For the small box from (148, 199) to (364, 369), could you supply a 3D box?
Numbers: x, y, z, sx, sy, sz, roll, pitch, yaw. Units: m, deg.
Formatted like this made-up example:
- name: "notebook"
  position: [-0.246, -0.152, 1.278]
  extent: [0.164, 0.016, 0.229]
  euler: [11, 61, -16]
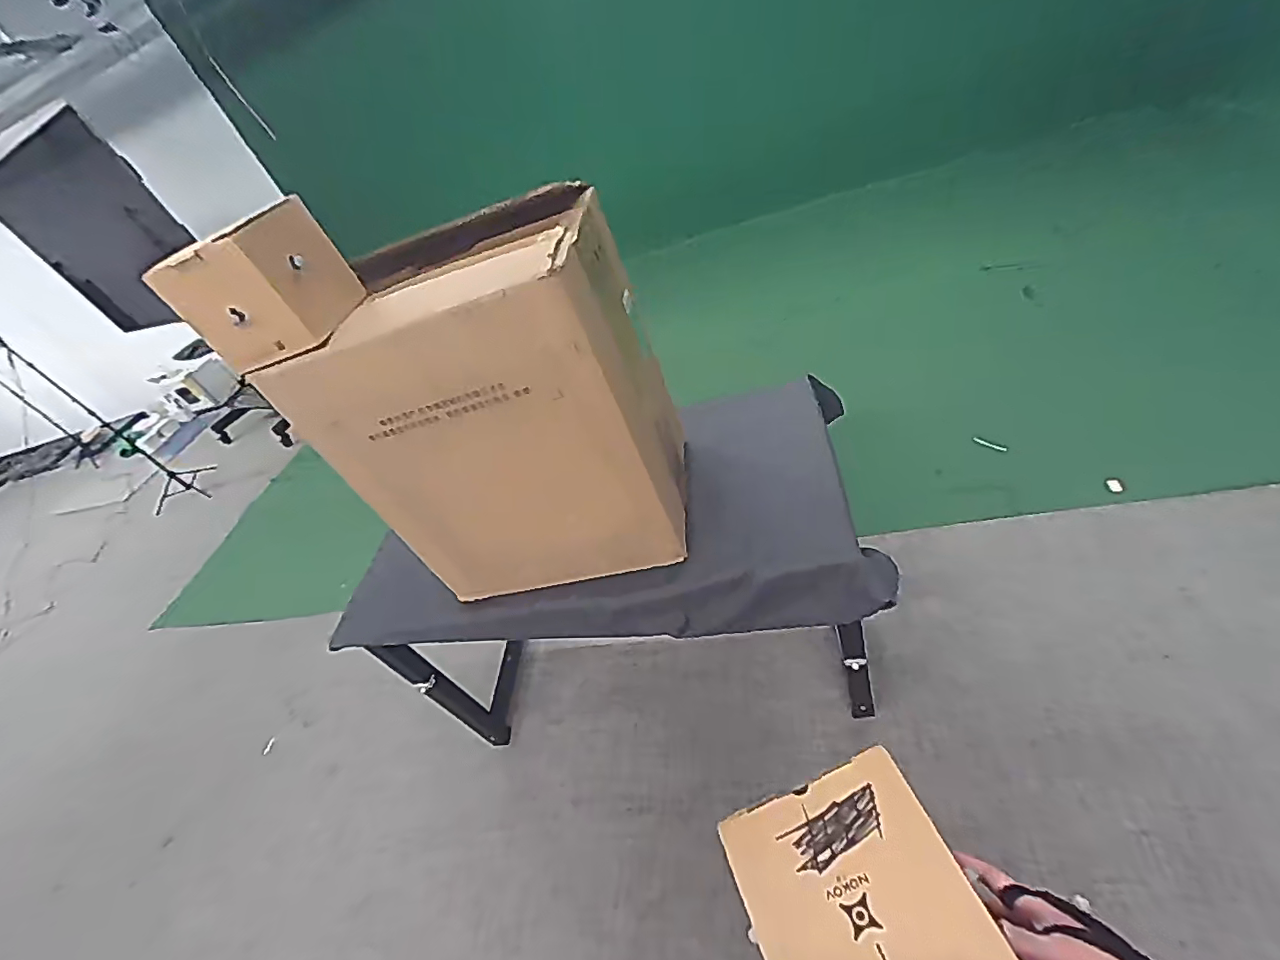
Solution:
- name: "small box"
  position: [-0.565, -0.289, 0.826]
  extent: [0.168, 0.176, 0.179]
  euler: [-13, 42, 16]
